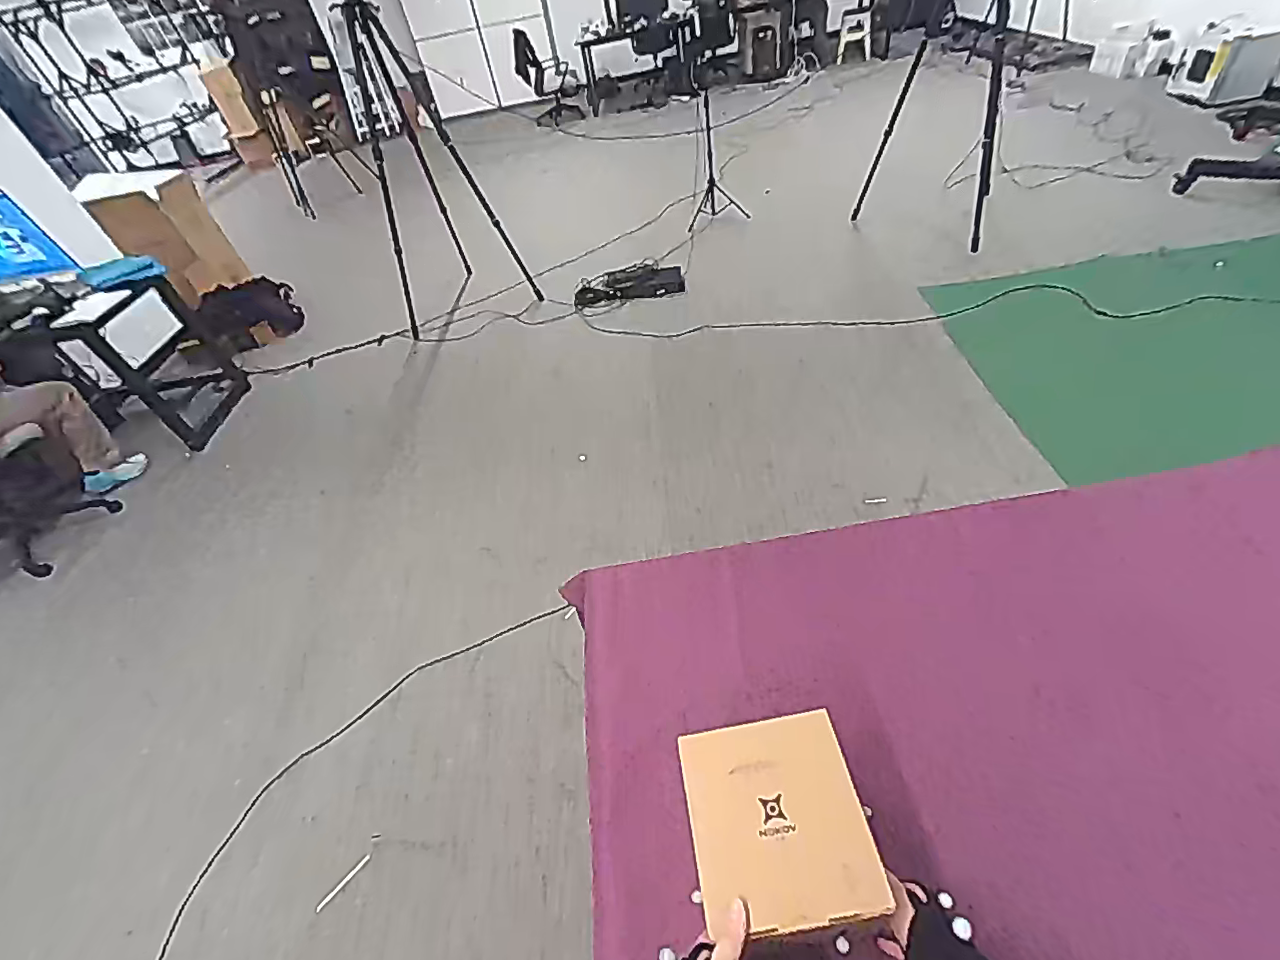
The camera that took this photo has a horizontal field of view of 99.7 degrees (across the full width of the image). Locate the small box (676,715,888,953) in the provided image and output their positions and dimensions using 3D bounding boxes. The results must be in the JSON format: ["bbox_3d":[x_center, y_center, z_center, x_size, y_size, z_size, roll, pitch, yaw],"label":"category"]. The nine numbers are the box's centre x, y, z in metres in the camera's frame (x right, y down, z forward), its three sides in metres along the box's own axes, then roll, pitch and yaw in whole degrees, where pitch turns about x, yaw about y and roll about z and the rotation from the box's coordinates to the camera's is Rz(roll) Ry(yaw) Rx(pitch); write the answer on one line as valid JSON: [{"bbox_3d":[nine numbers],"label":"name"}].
[{"bbox_3d":[0.141,0.382,0.579,0.168,0.176,0.179,-11,44,3],"label":"small box"}]
